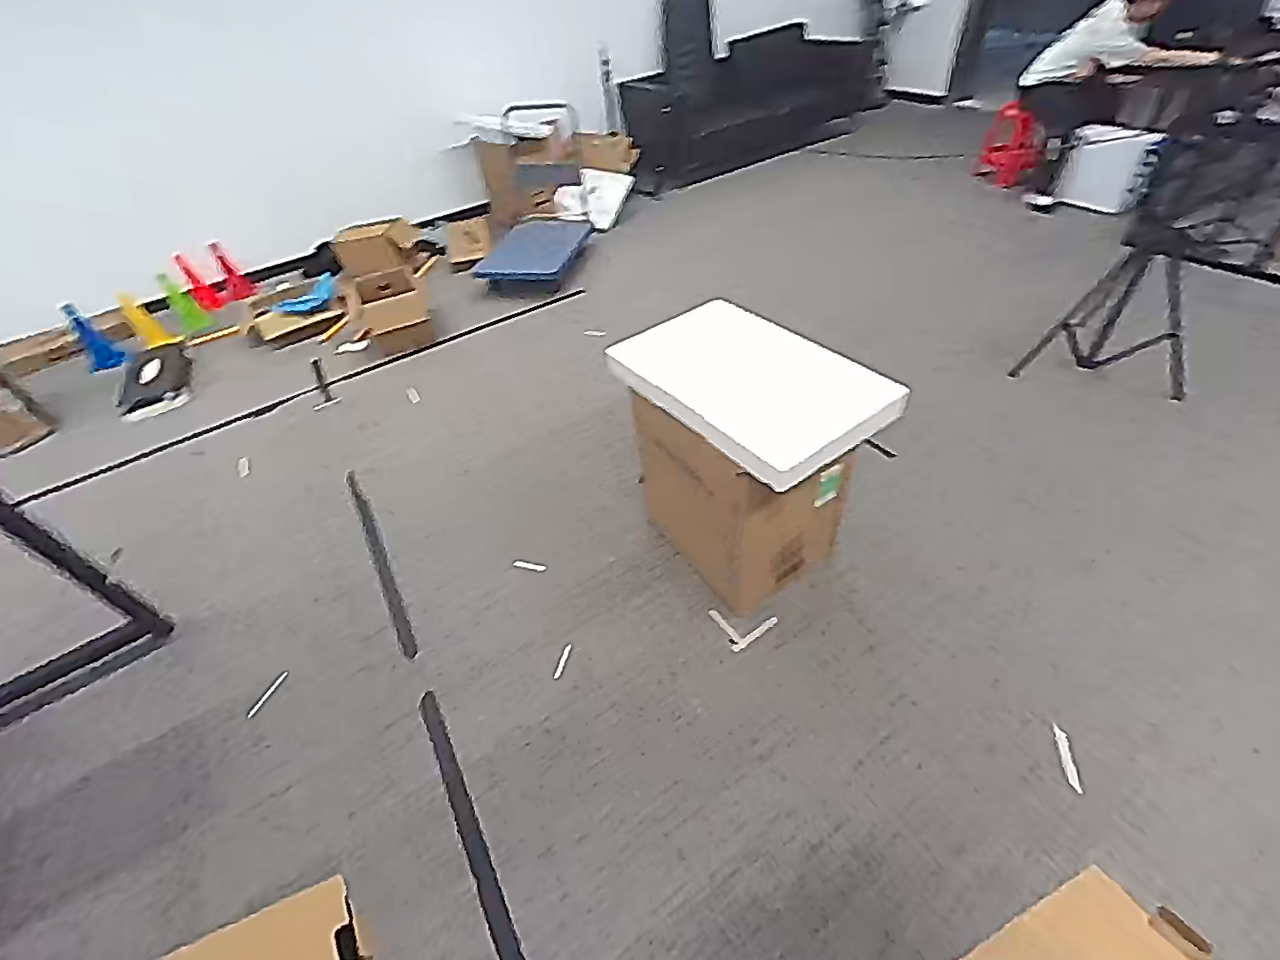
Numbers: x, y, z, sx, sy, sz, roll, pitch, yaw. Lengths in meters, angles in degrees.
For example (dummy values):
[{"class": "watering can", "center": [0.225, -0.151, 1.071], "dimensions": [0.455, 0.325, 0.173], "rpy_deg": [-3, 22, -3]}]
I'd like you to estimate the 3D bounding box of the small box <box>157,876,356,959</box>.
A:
[{"class": "small box", "center": [-0.386, 0.572, 0.547], "dimensions": [0.179, 0.176, 0.168], "rpy_deg": [-6, 27, -39]}]
